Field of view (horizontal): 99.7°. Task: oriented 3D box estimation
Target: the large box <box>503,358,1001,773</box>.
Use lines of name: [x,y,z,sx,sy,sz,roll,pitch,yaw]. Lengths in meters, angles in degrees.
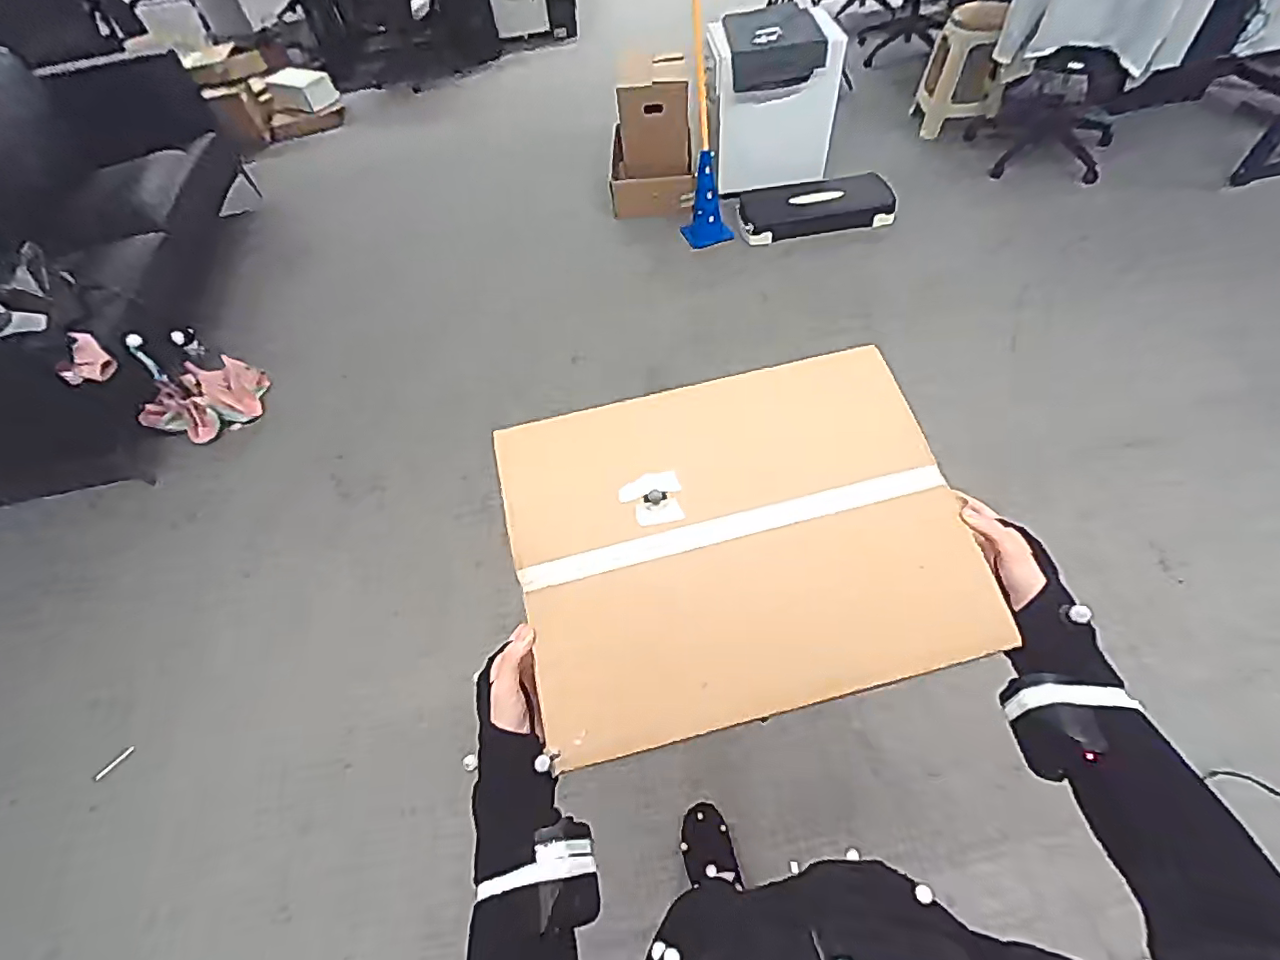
large box: [0.095,0.107,0.648,0.408,0.320,0.320,-14,69,-3]
